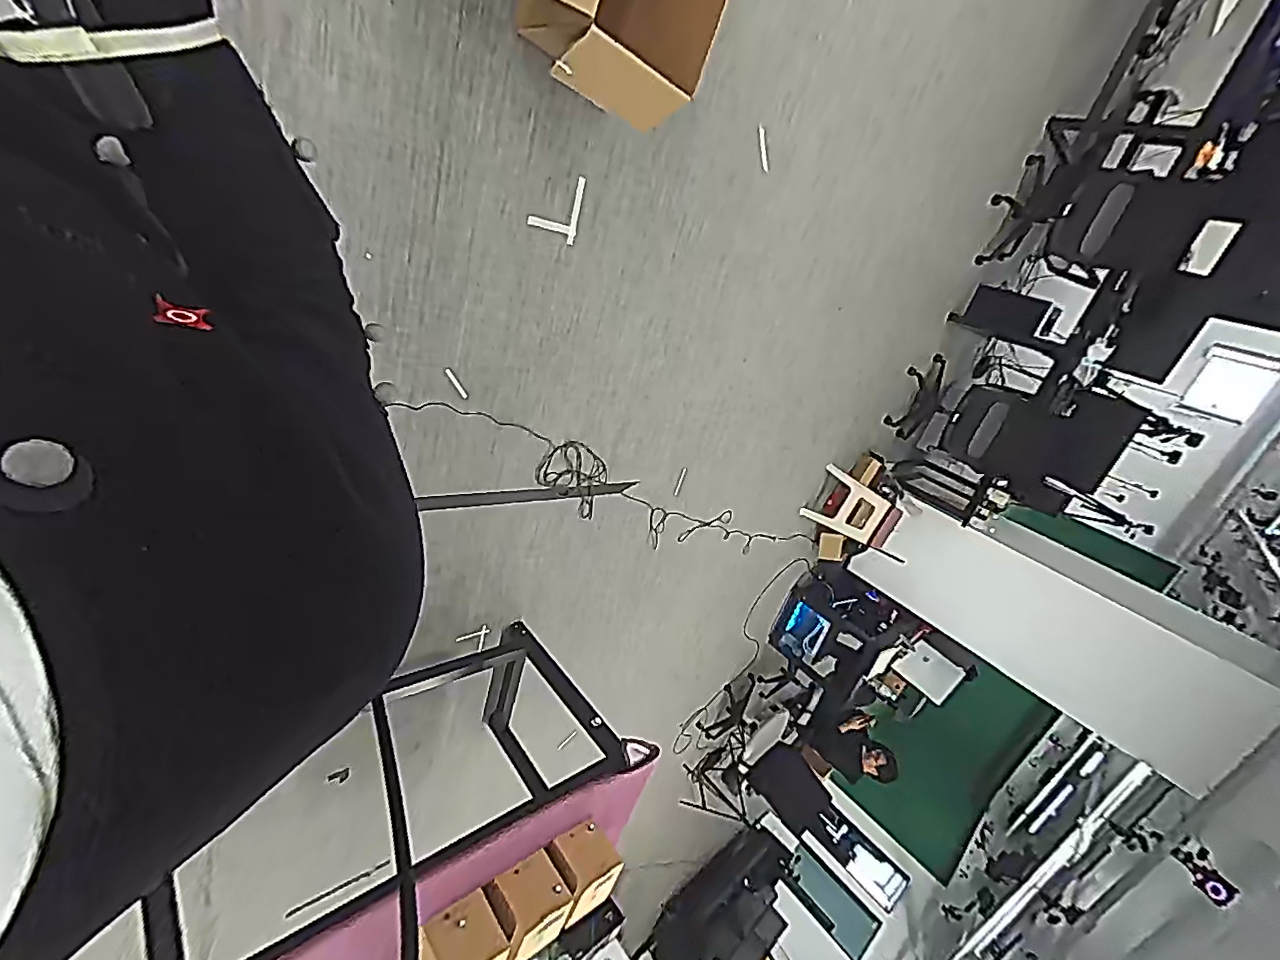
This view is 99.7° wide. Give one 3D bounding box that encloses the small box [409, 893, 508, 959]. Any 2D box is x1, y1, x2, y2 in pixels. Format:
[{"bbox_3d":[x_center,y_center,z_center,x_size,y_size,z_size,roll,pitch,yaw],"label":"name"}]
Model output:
[{"bbox_3d":[-0.465,1.207,1.365,0.168,0.176,0.179,-2,120,-48],"label":"small box"}]
